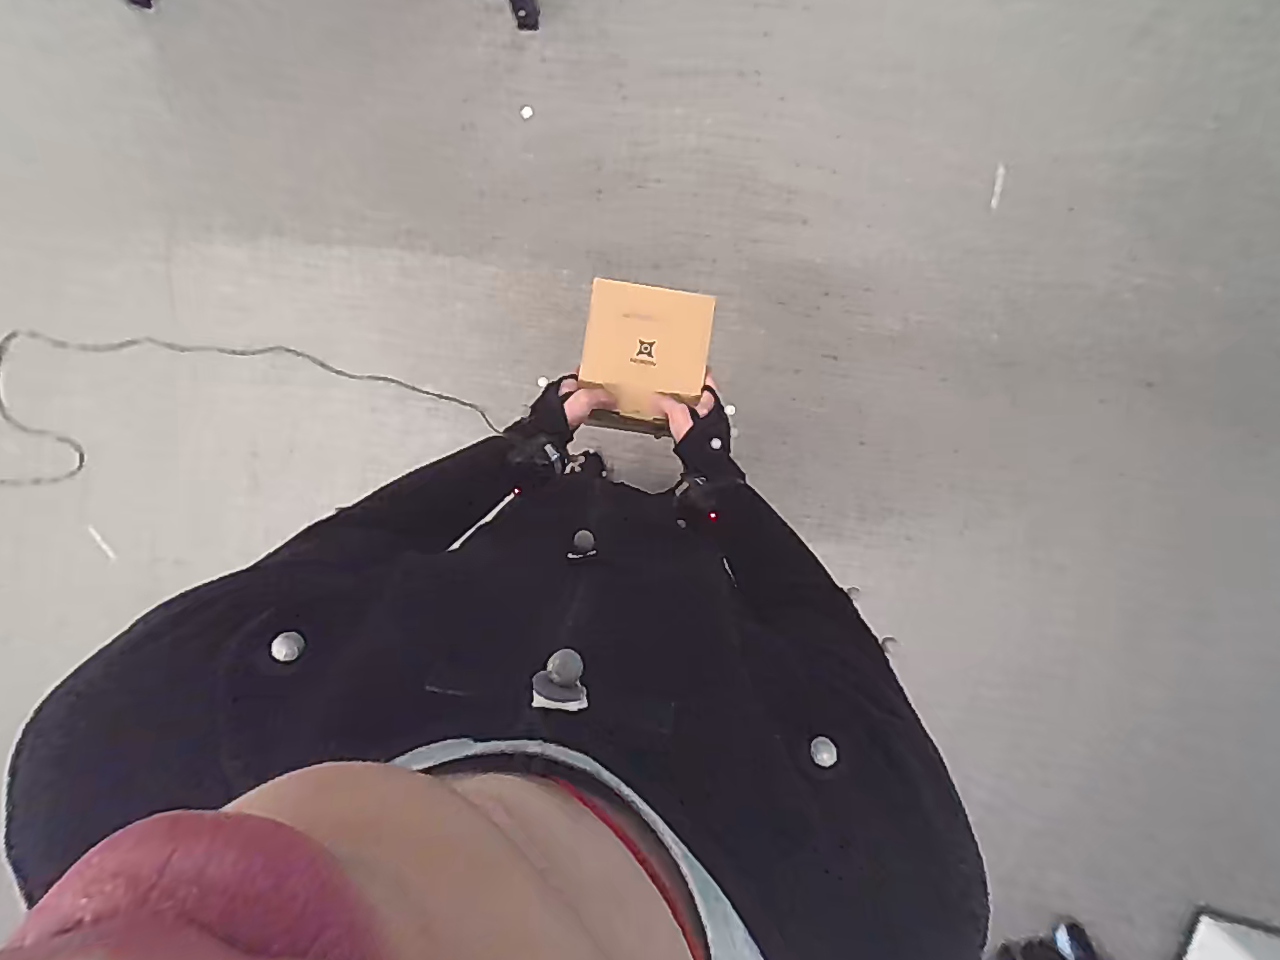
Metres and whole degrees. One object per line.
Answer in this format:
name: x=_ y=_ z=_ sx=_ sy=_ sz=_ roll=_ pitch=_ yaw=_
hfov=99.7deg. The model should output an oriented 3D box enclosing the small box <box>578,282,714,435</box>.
small box: x=0.005 y=-0.167 z=0.801 sx=0.168 sy=0.176 sz=0.179 roll=7 pitch=87 yaw=-3
